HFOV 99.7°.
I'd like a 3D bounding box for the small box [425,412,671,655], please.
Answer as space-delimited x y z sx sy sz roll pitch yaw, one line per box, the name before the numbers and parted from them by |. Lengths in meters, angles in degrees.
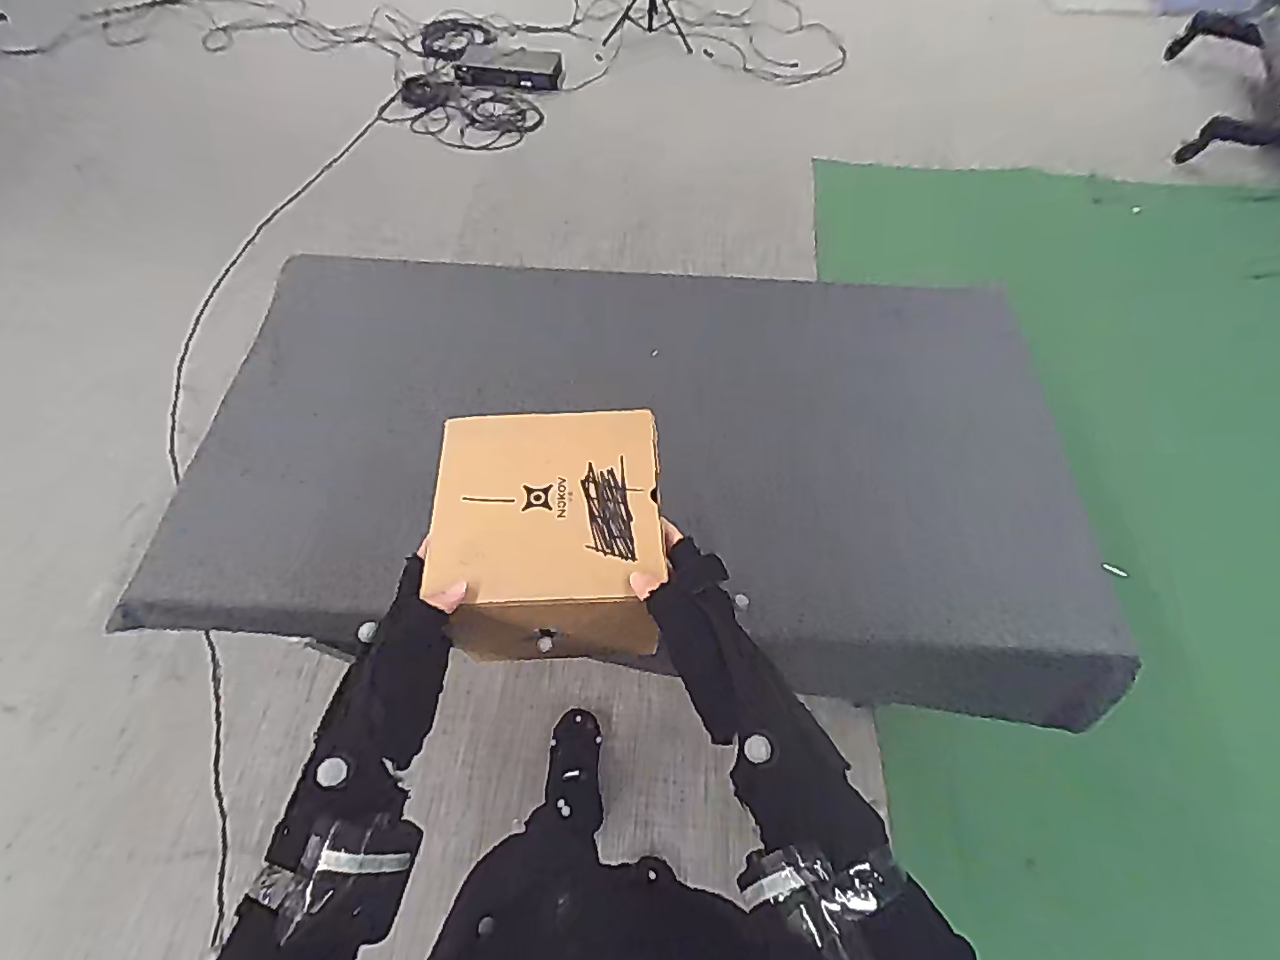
small box | -0.071 0.055 0.490 0.179 0.176 0.168 -2 59 -3
